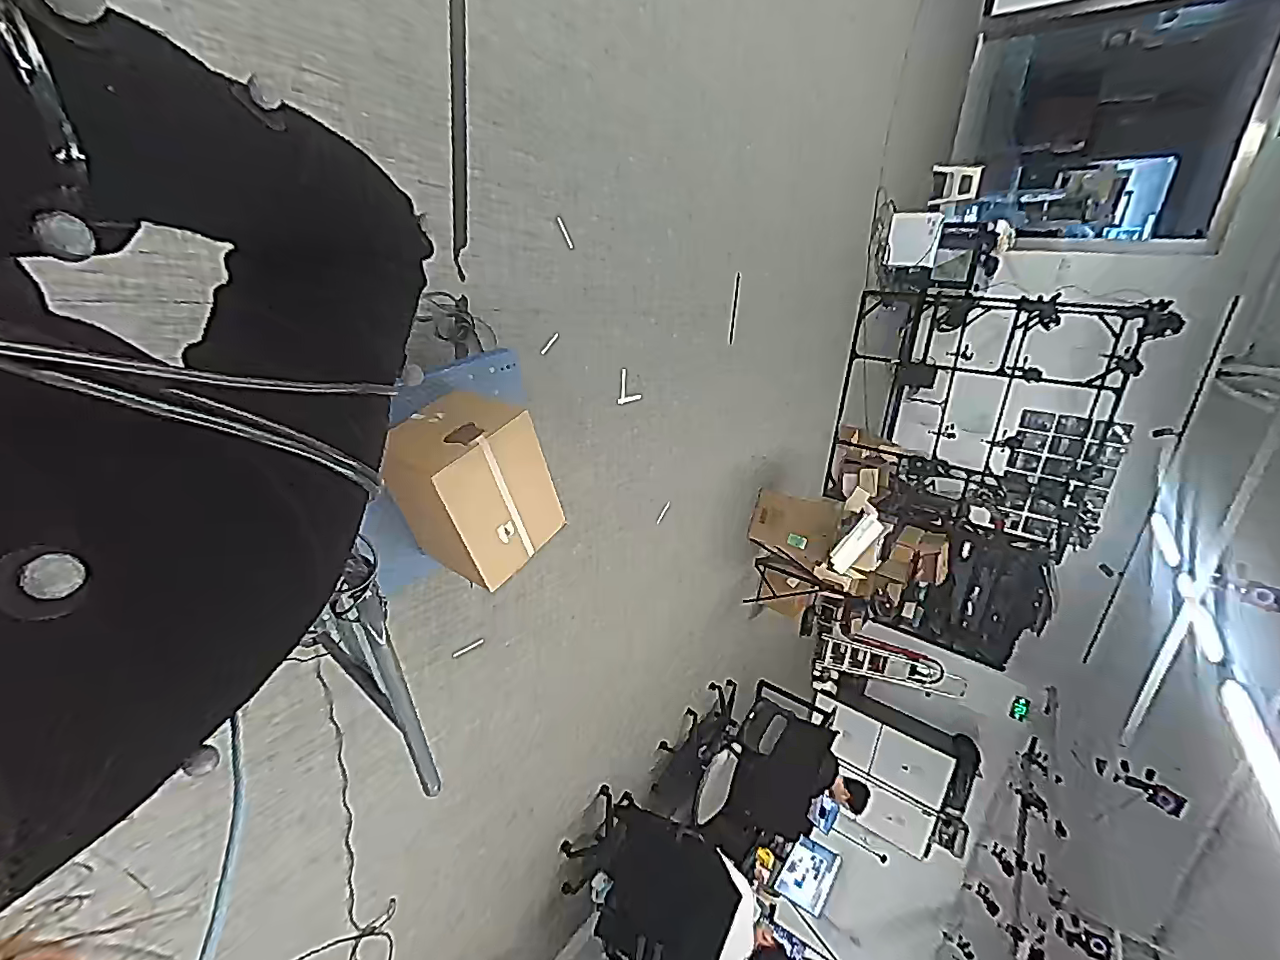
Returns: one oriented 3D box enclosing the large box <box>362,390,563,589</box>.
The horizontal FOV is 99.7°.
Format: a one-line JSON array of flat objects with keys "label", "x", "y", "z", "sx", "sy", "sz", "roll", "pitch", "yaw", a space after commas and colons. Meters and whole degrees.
[{"label": "large box", "x": -0.471, "y": 0.018, "z": 1.489, "sx": 0.320, "sy": 0.320, "sz": 0.408, "roll": -44, "pitch": 138, "yaw": -35}]
